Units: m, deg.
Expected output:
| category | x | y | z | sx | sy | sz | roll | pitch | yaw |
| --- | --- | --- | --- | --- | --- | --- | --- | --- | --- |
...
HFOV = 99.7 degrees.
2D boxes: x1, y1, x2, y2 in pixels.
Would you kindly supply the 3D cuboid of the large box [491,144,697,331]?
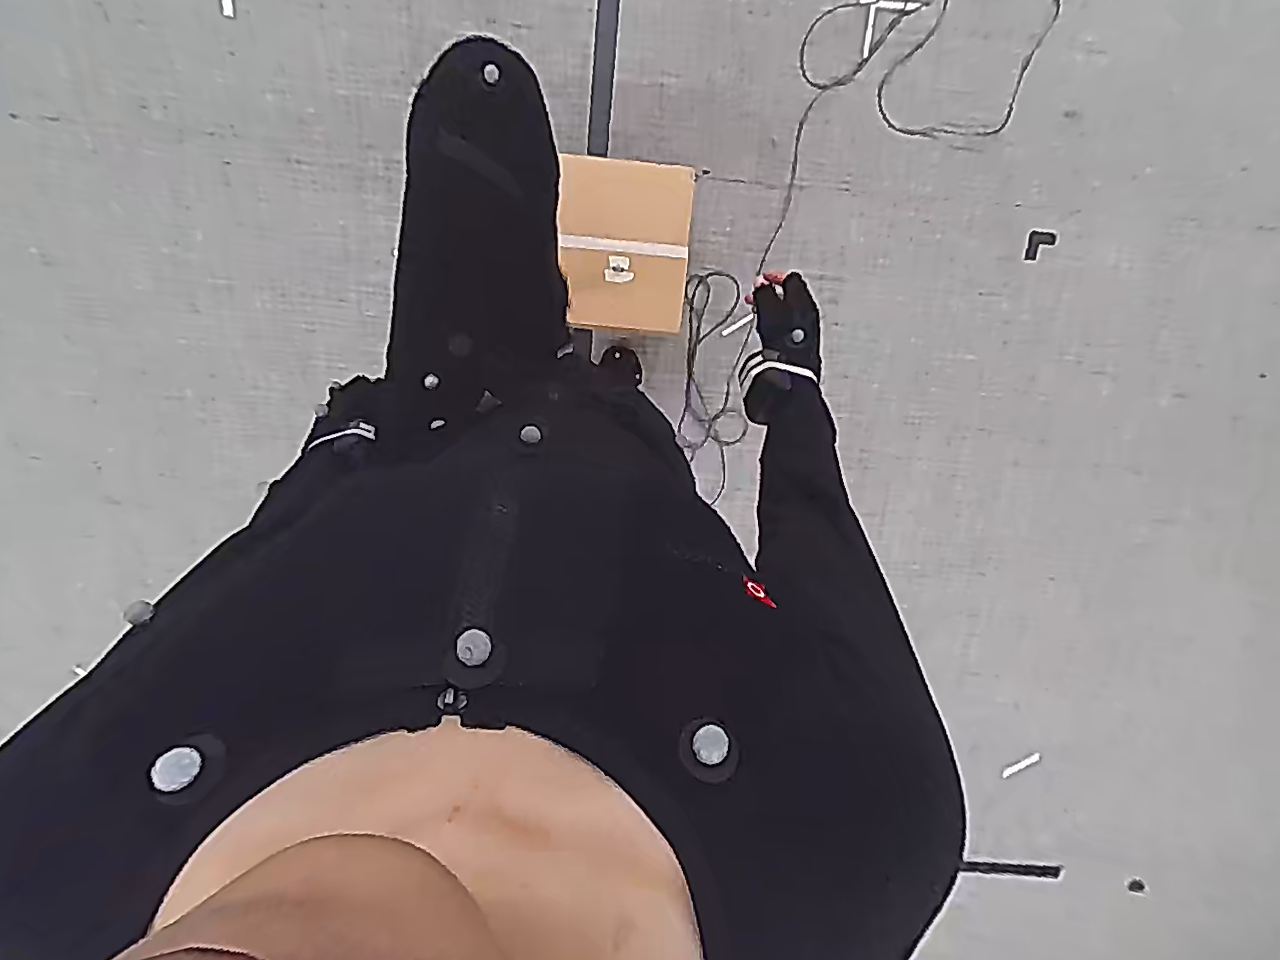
| category | x | y | z | sx | sy | sz | roll | pitch | yaw |
| --- | --- | --- | --- | --- | --- | --- | --- | --- | --- |
| large box | -0.102 | -0.516 | 1.224 | 0.408 | 0.320 | 0.320 | 5 | 104 | -2 |
